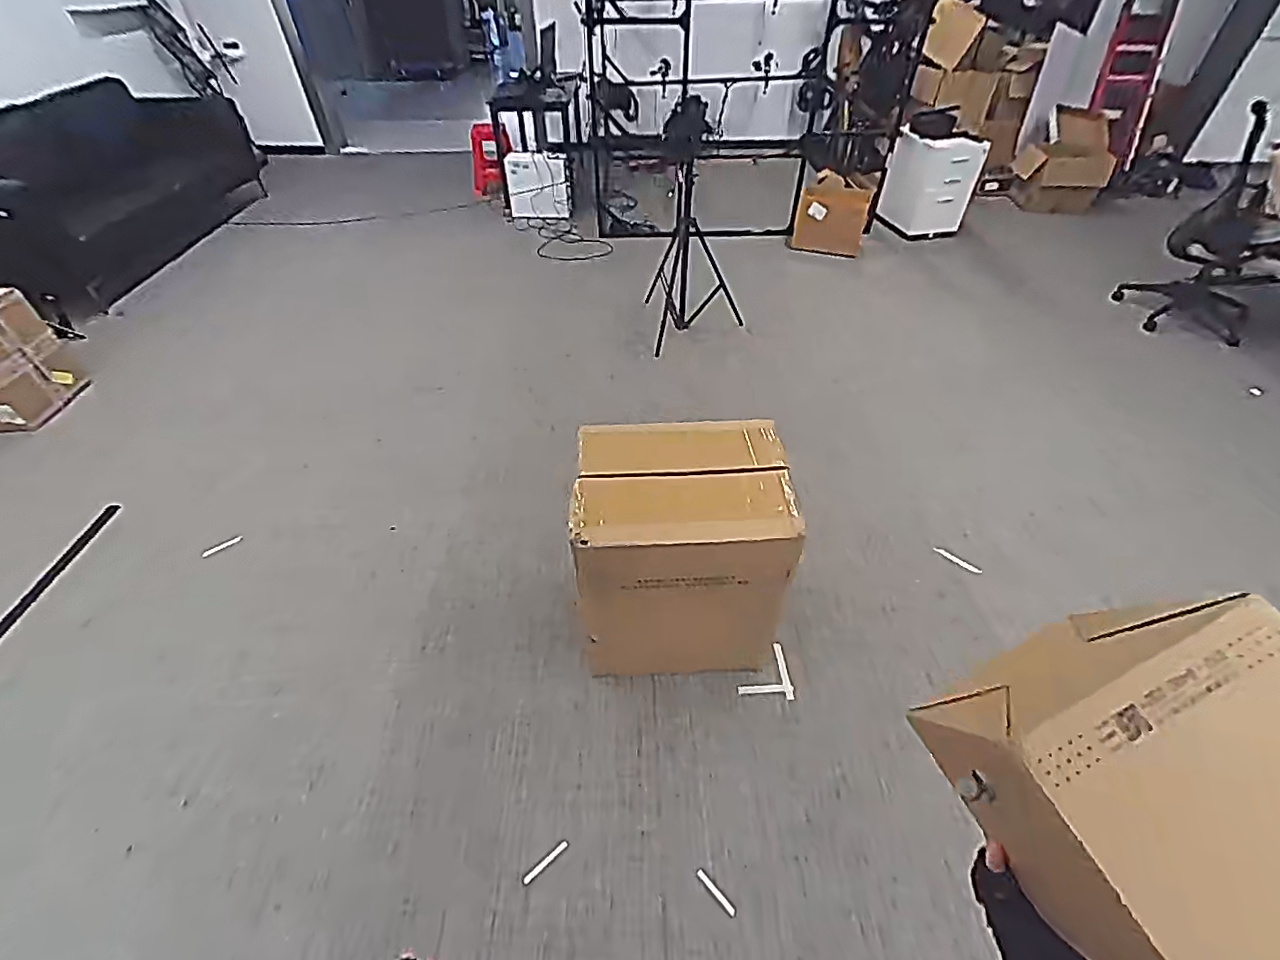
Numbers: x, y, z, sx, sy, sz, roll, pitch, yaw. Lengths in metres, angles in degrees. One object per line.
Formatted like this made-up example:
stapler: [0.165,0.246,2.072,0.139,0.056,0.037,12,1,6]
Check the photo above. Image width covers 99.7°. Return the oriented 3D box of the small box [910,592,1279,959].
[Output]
small box: [0.311,0.188,0.348,0.168,0.179,0.176,-31,70,-2]
